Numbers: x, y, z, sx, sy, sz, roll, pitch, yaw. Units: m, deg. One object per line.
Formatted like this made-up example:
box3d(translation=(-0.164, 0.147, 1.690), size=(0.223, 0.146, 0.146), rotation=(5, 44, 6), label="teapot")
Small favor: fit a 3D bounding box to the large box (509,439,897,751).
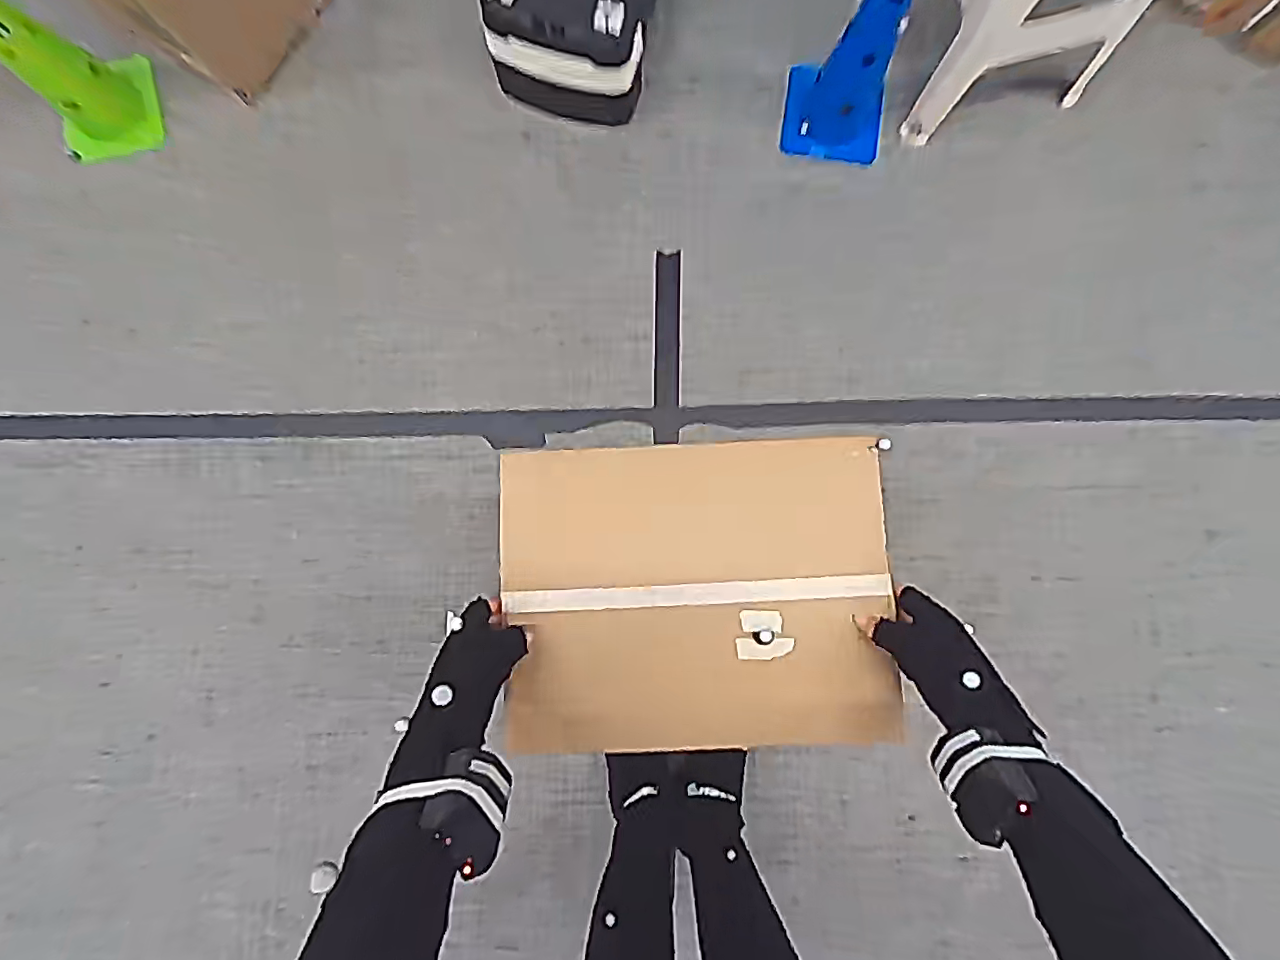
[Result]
box3d(translation=(0.061, 0.137, 0.727), size=(0.408, 0.320, 0.320), rotation=(-3, 84, 0), label="large box")
